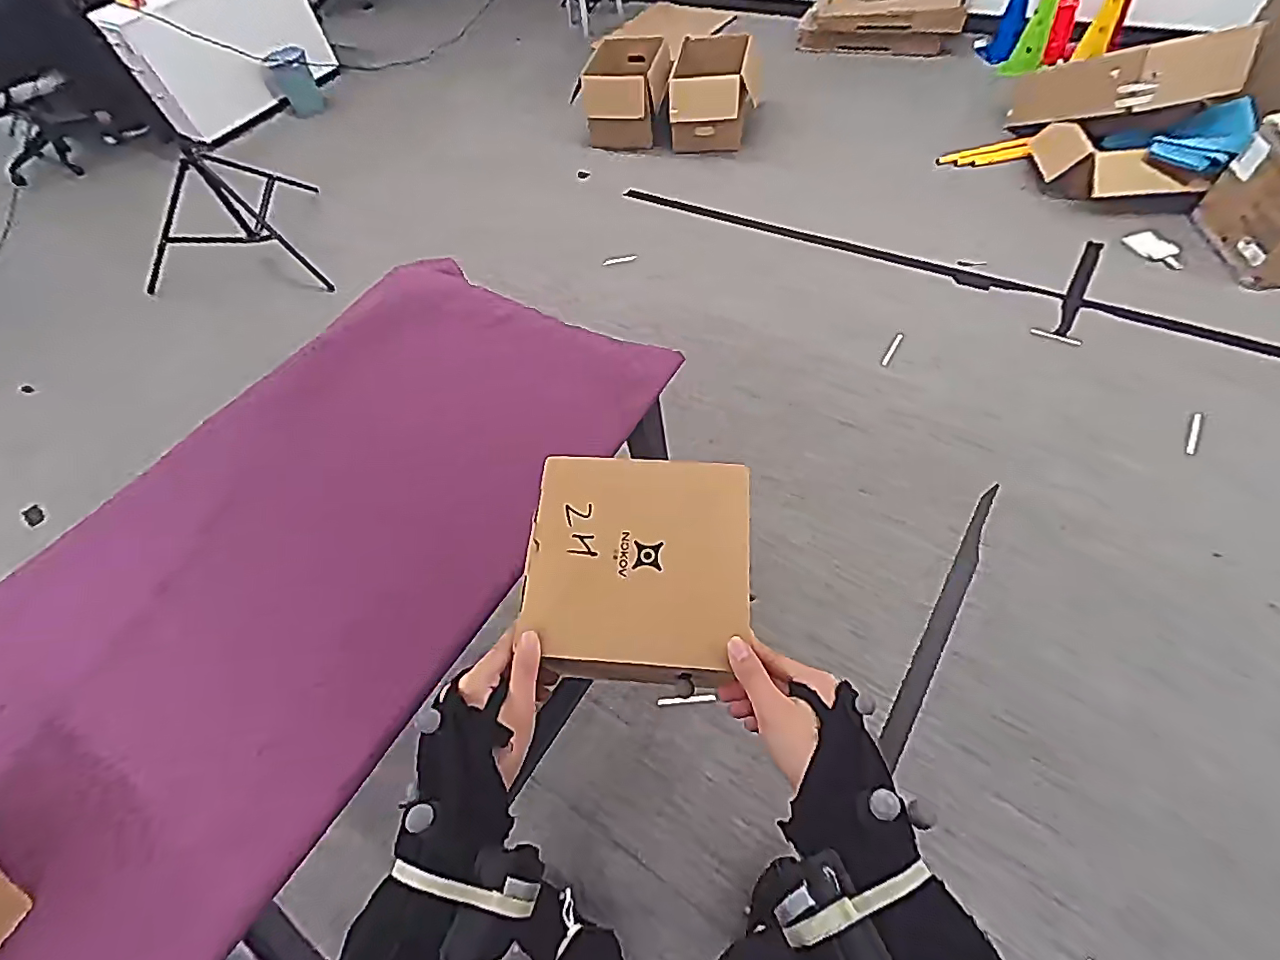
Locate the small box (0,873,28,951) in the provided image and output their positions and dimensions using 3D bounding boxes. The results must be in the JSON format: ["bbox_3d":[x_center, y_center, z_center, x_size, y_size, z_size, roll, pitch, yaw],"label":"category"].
[{"bbox_3d":[-0.720,0.423,0.466,0.179,0.176,0.168,19,62,18],"label":"small box"}]

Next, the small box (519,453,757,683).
[{"bbox_3d":[0.008,0.089,0.497,0.179,0.176,0.168,2,65,6],"label":"small box"}]
